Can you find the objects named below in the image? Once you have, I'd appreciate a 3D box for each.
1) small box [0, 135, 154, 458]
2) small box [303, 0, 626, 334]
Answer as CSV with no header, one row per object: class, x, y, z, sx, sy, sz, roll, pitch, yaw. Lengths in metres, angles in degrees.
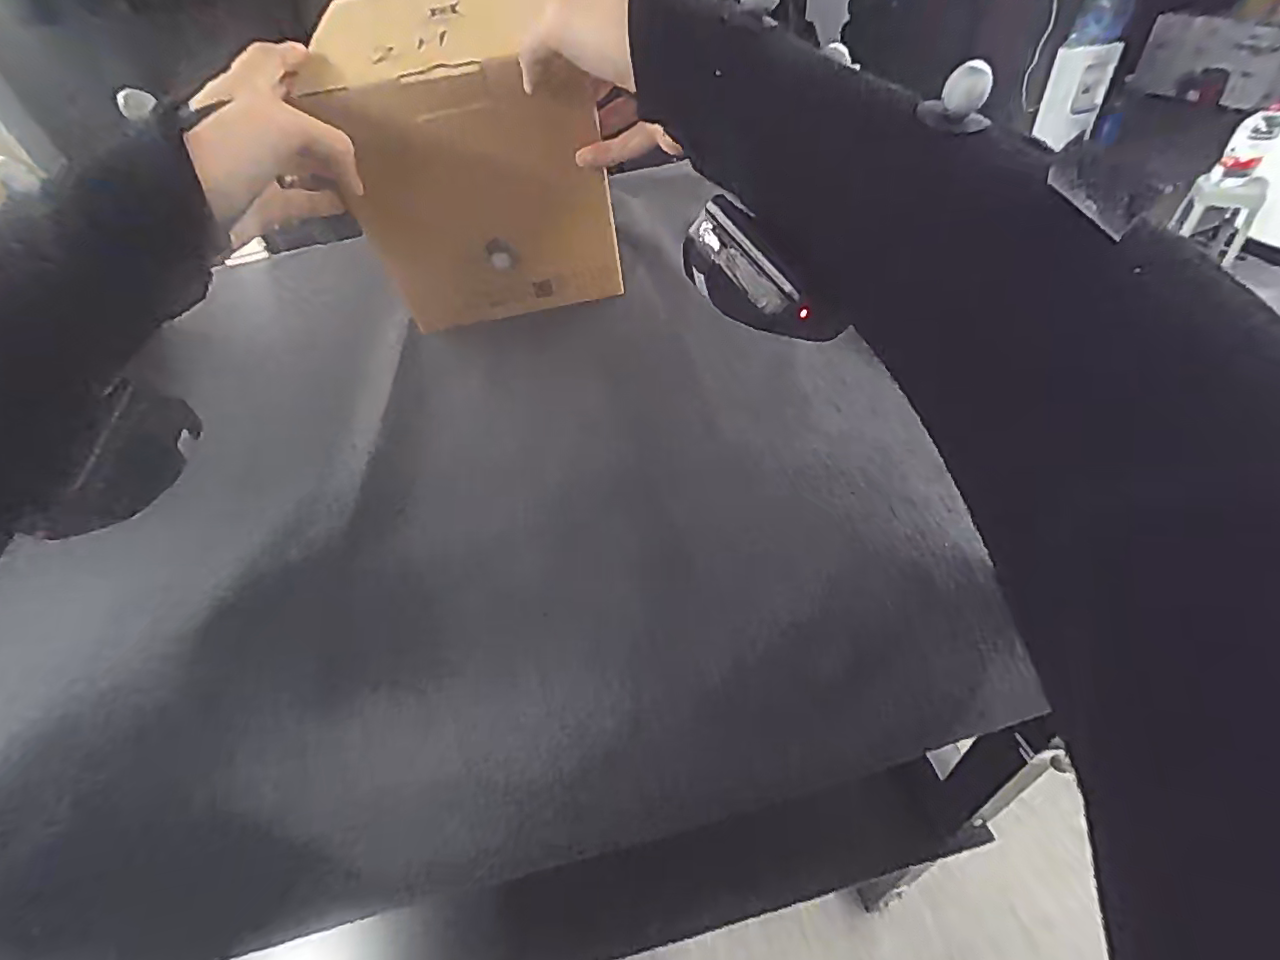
small box,-0.511,-0.121,0.388,0.168,0.176,0.179,-19,45,-8
small box,-0.110,-0.241,0.408,0.168,0.176,0.179,-12,56,-1
